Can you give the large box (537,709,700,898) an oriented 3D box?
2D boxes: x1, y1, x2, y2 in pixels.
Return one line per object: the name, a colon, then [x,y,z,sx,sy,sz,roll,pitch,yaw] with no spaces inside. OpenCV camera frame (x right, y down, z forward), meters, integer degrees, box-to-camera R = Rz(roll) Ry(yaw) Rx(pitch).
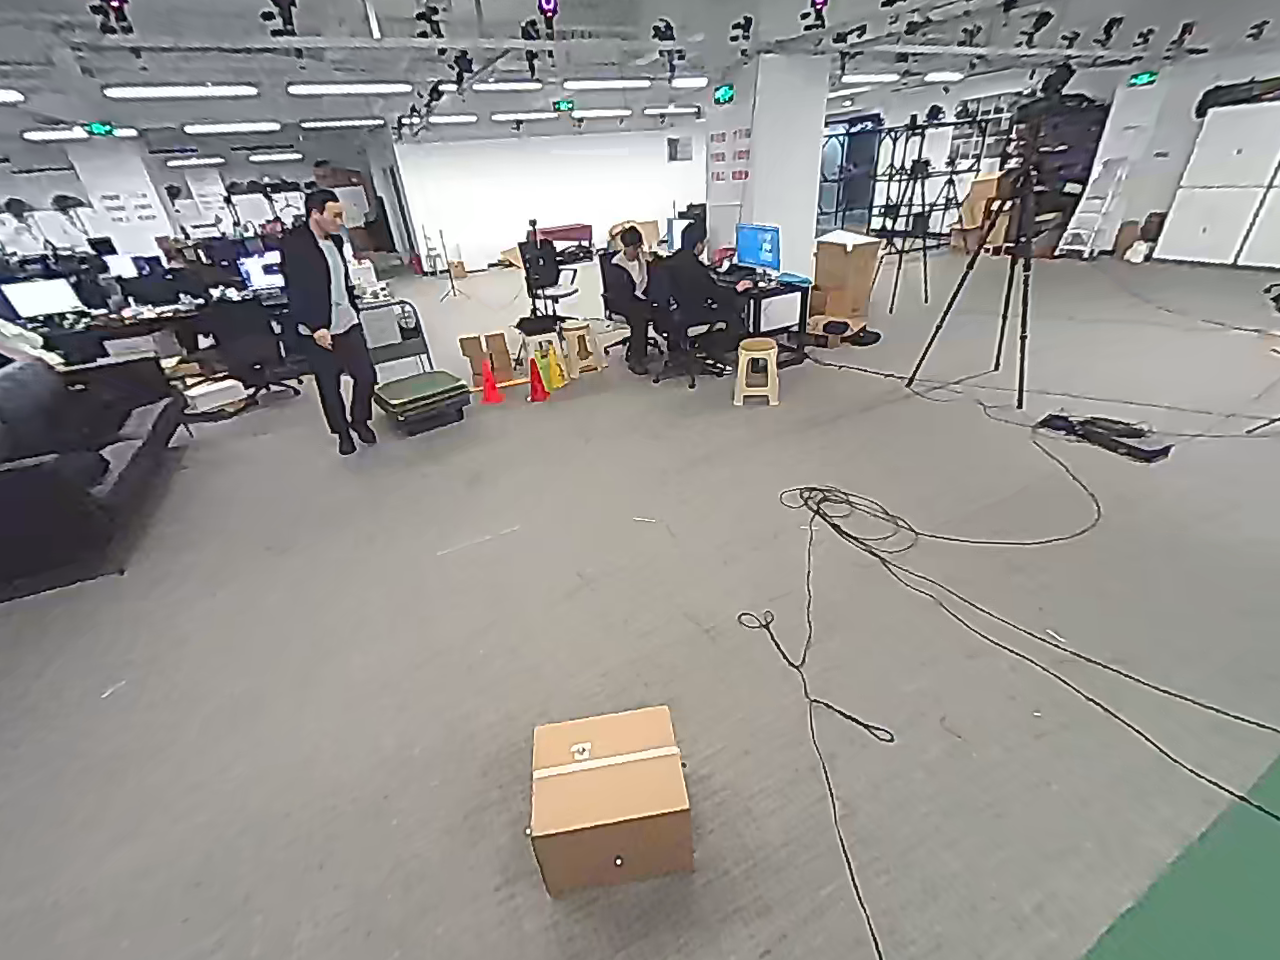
large box: [-0.063,0.915,1.544,0.408,0.320,0.320,-9,29,-4]
